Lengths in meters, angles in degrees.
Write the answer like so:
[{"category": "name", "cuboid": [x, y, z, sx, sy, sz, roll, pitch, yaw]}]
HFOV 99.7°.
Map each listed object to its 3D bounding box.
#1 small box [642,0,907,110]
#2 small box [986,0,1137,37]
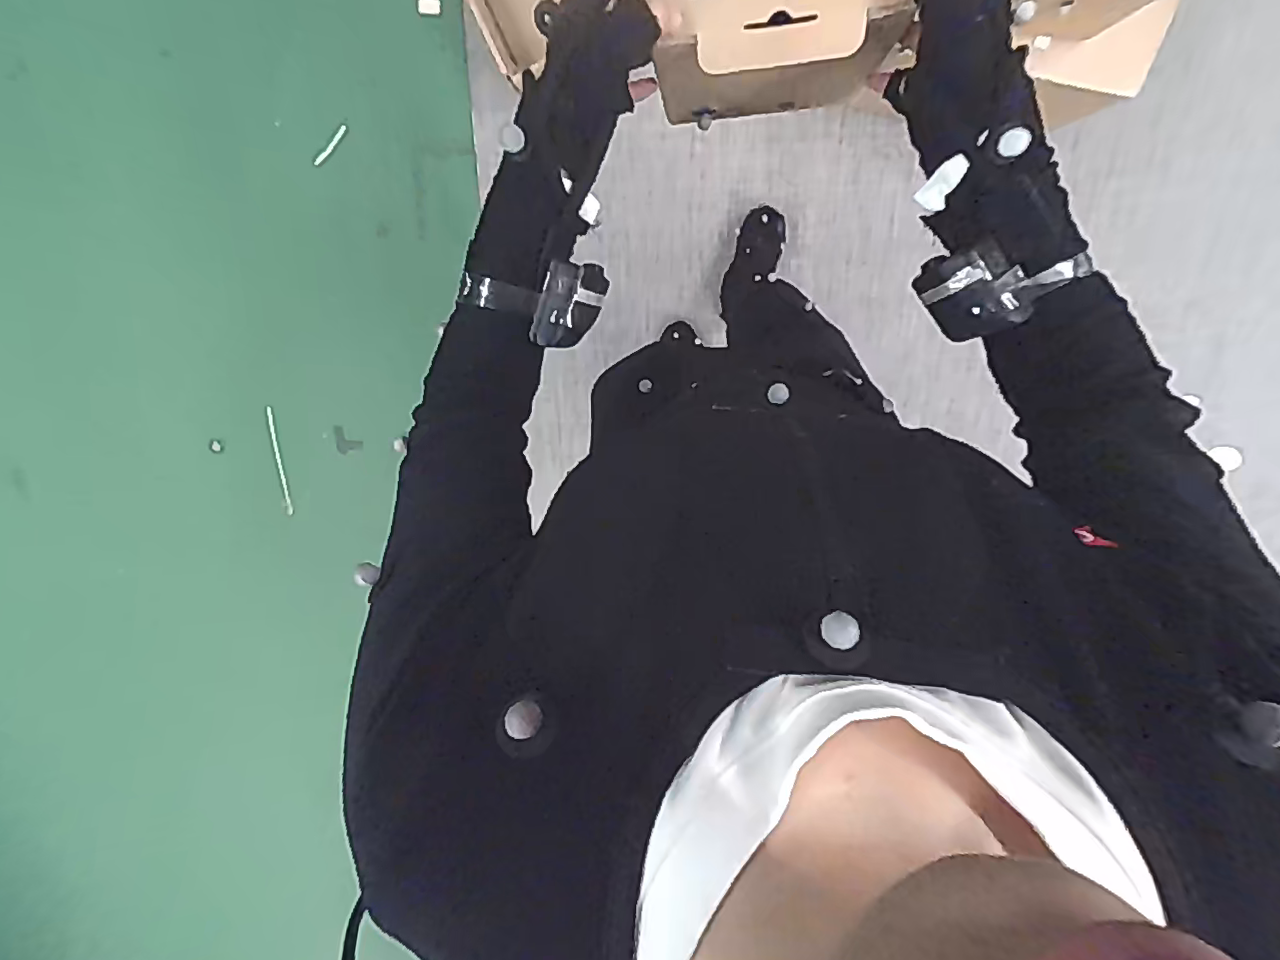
[{"category": "small box", "cuboid": [0.089, -0.389, 0.384, 0.168, 0.176, 0.179, -2, 107, 8]}, {"category": "small box", "cuboid": [0.640, -0.771, 0.772, 0.179, 0.176, 0.168, 7, 110, 2]}]
